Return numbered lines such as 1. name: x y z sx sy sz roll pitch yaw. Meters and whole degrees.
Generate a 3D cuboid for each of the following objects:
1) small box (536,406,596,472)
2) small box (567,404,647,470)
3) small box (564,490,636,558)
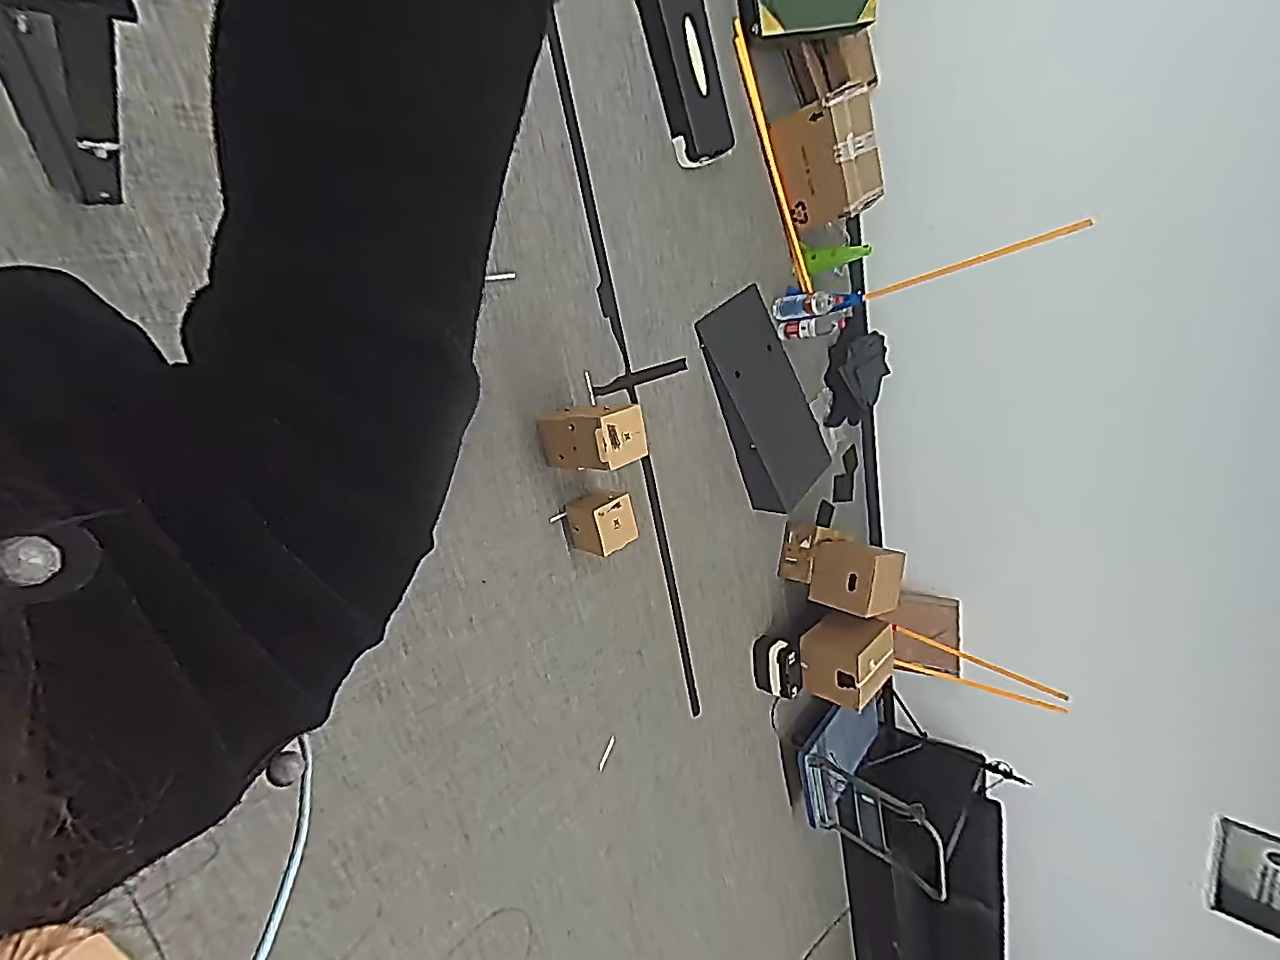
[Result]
1. small box: -0.218 -0.142 1.796 0.168 0.176 0.179 -28 114 -39
2. small box: -0.108 -0.135 1.675 0.179 0.176 0.168 -25 113 -41
3. small box: -0.143 0.149 1.906 0.168 0.176 0.179 -27 114 -39
